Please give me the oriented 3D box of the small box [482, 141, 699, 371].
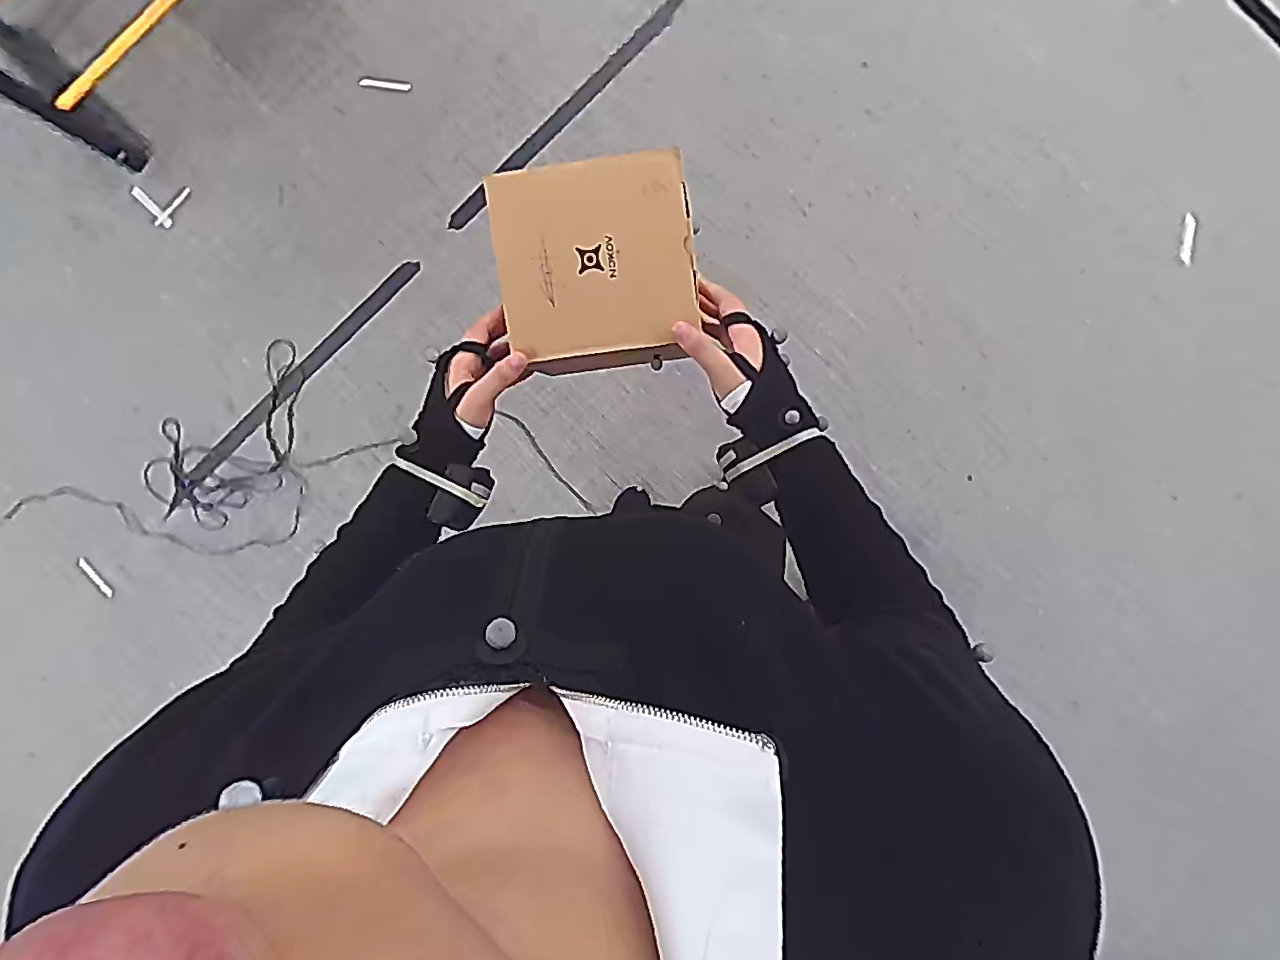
[{"bbox_3d":[-0.041,-0.212,0.559,0.179,0.176,0.168,-8,96,4],"label":"small box"}]
